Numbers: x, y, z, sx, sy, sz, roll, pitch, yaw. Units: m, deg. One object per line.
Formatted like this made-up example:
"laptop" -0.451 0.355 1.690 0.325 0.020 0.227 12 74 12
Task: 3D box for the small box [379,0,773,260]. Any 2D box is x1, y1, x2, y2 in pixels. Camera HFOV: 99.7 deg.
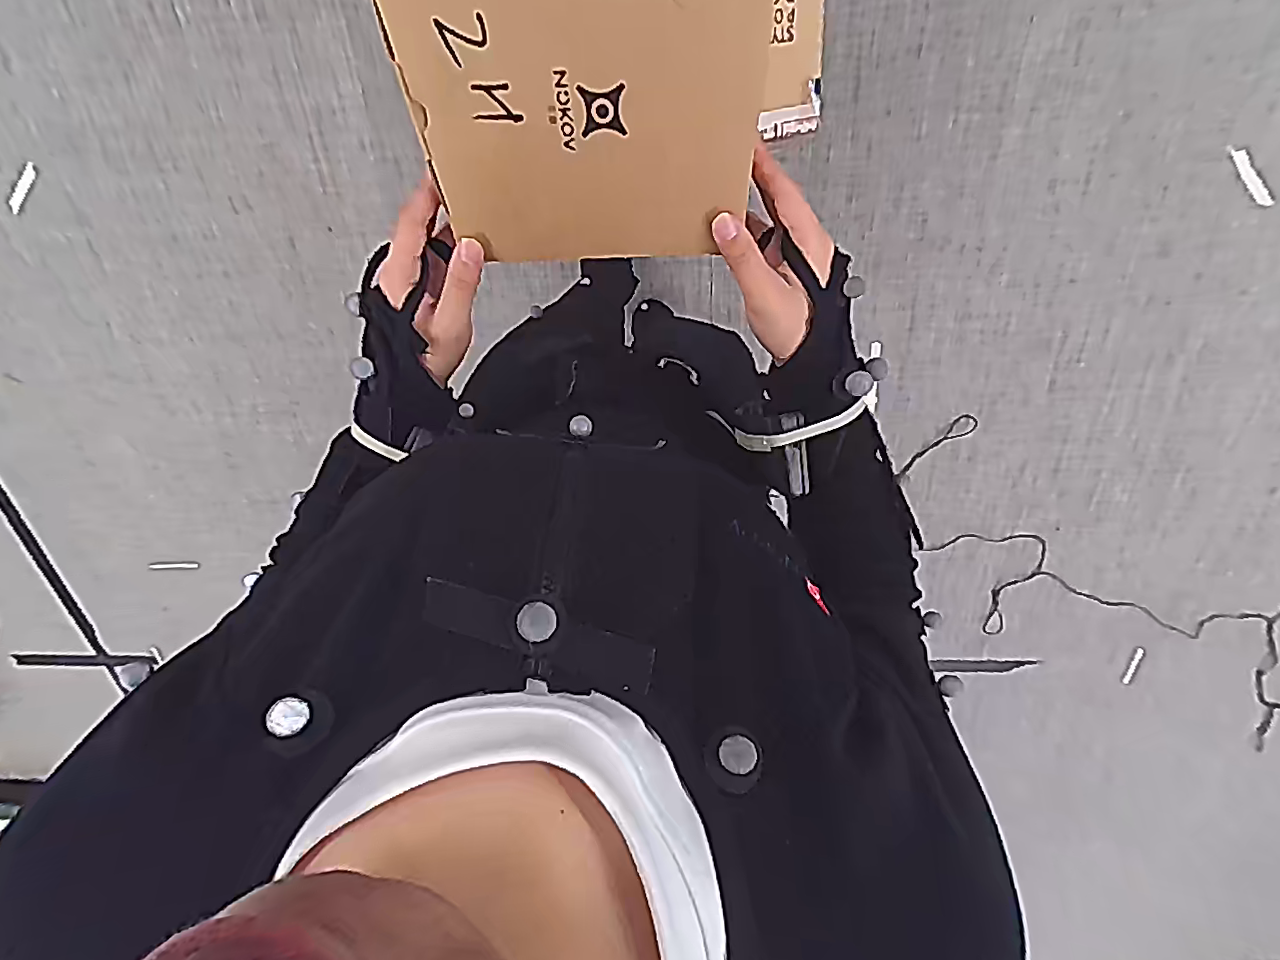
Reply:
"small box" -0.028 -0.254 0.317 0.179 0.176 0.168 -2 146 1
